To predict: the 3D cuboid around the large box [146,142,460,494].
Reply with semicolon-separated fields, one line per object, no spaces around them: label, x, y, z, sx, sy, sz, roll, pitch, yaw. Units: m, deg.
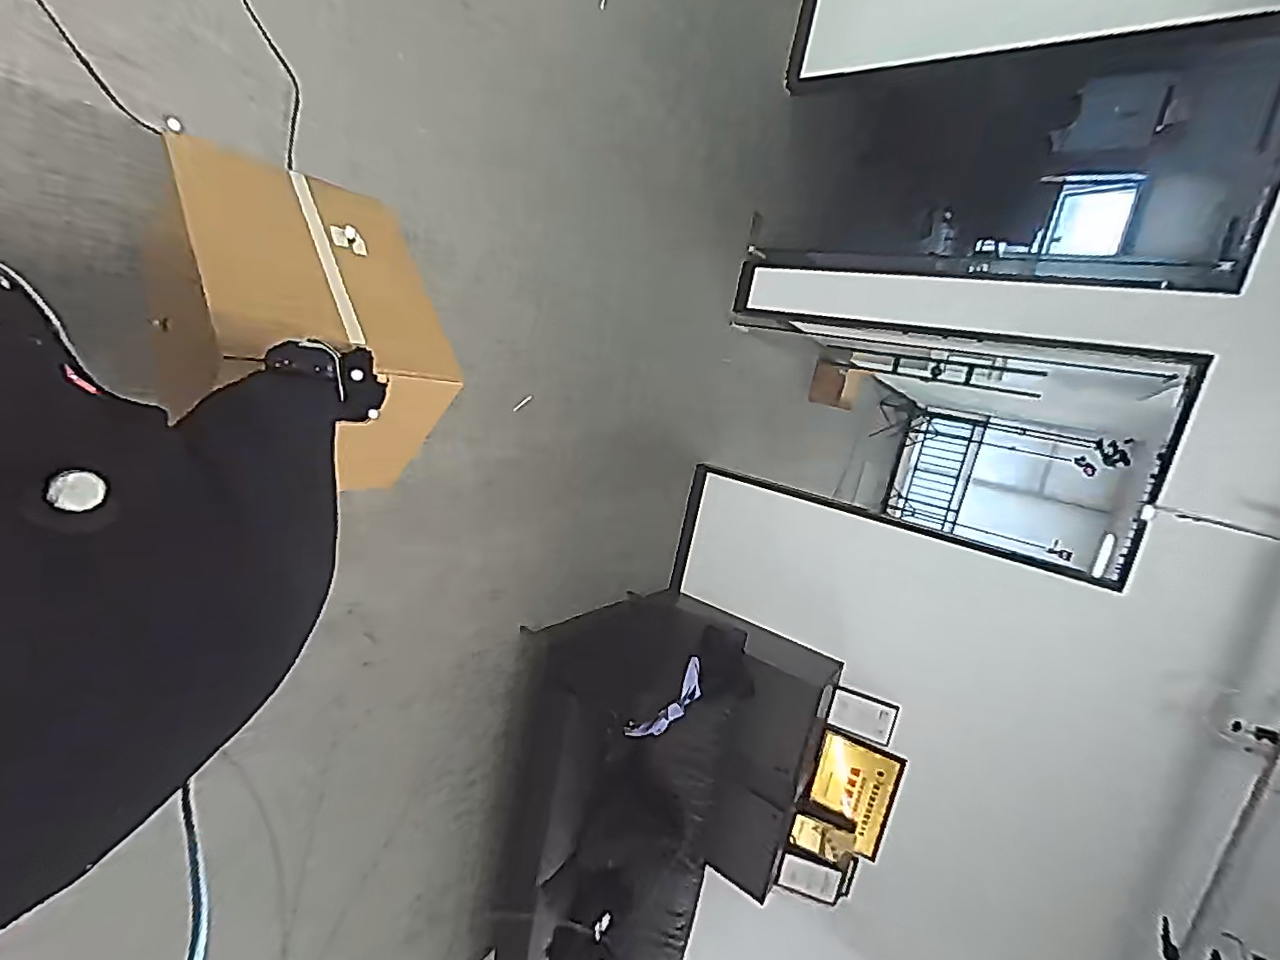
large box;-0.561;-0.231;0.885;0.320;0.408;0.320;-41;158;33
